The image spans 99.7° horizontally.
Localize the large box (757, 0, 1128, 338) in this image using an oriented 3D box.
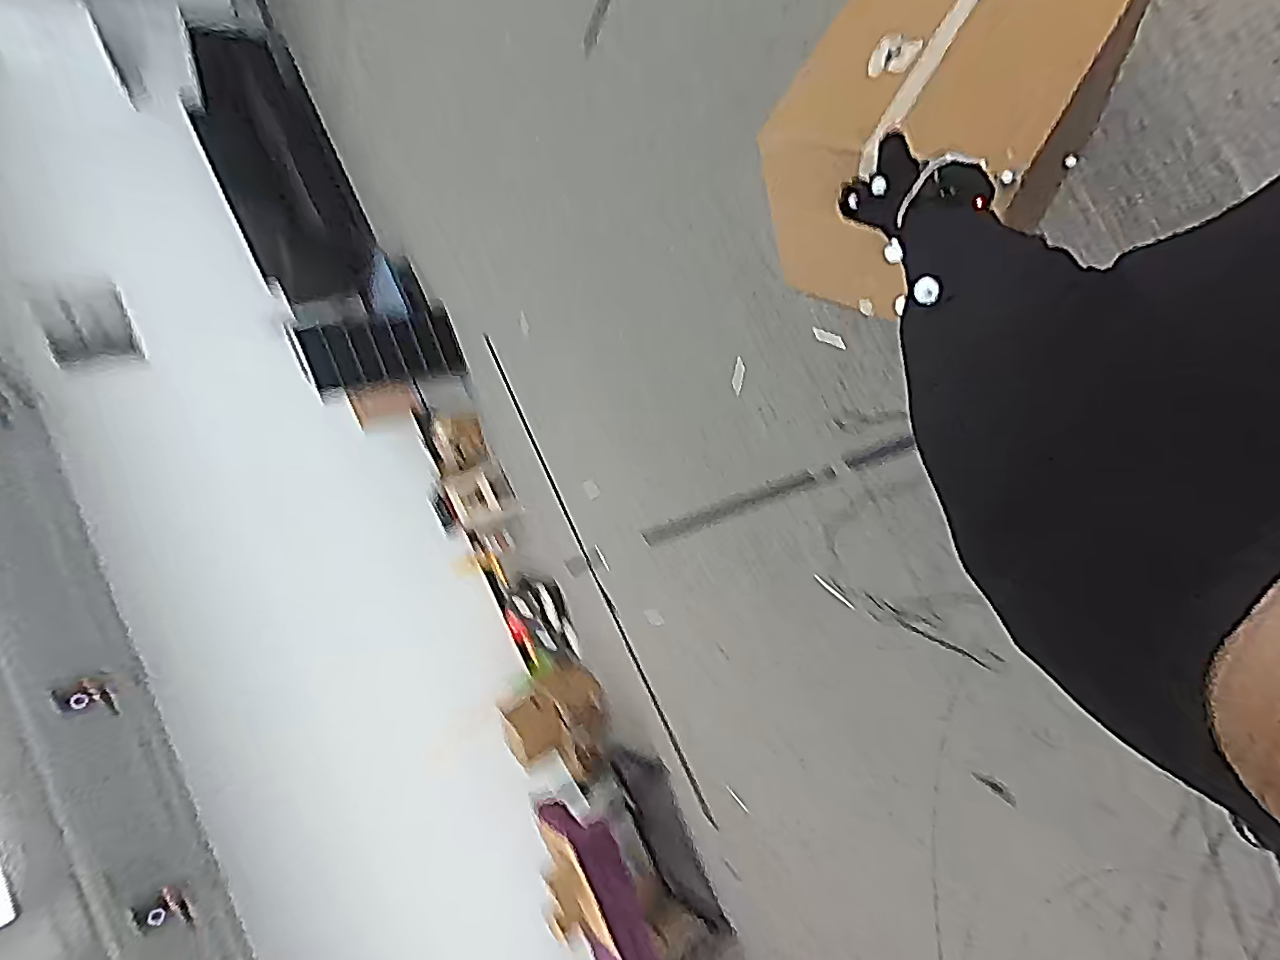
[{"bbox_3d":[0.426,-0.494,0.794,0.320,0.320,0.408,30,86,29],"label":"large box"}]
